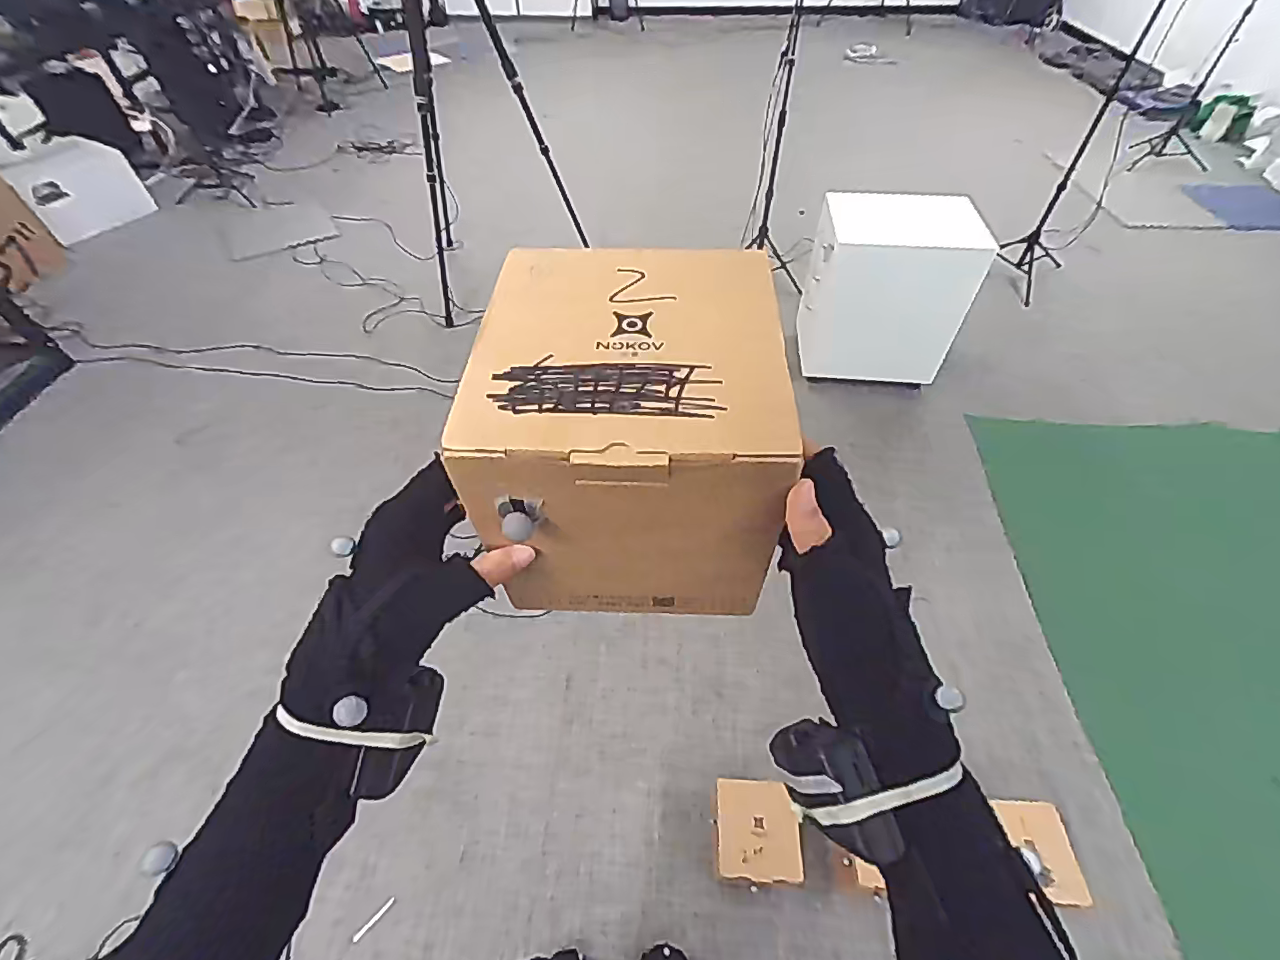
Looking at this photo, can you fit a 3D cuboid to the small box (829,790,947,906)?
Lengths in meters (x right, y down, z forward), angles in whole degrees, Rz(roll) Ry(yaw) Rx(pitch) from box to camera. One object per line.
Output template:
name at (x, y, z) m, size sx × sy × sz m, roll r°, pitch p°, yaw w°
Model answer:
small box at (0.510, 0.780, 1.144) m, size 0.168 × 0.176 × 0.179 m, roll 4°, pitch 51°, yaw 4°

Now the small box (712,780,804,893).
small box at (0.242, 0.764, 1.156) m, size 0.168 × 0.176 × 0.179 m, roll 2°, pitch 50°, yaw 4°

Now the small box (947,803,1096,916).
small box at (0.778, 0.793, 1.128) m, size 0.168 × 0.176 × 0.179 m, roll 2°, pitch 50°, yaw 2°
